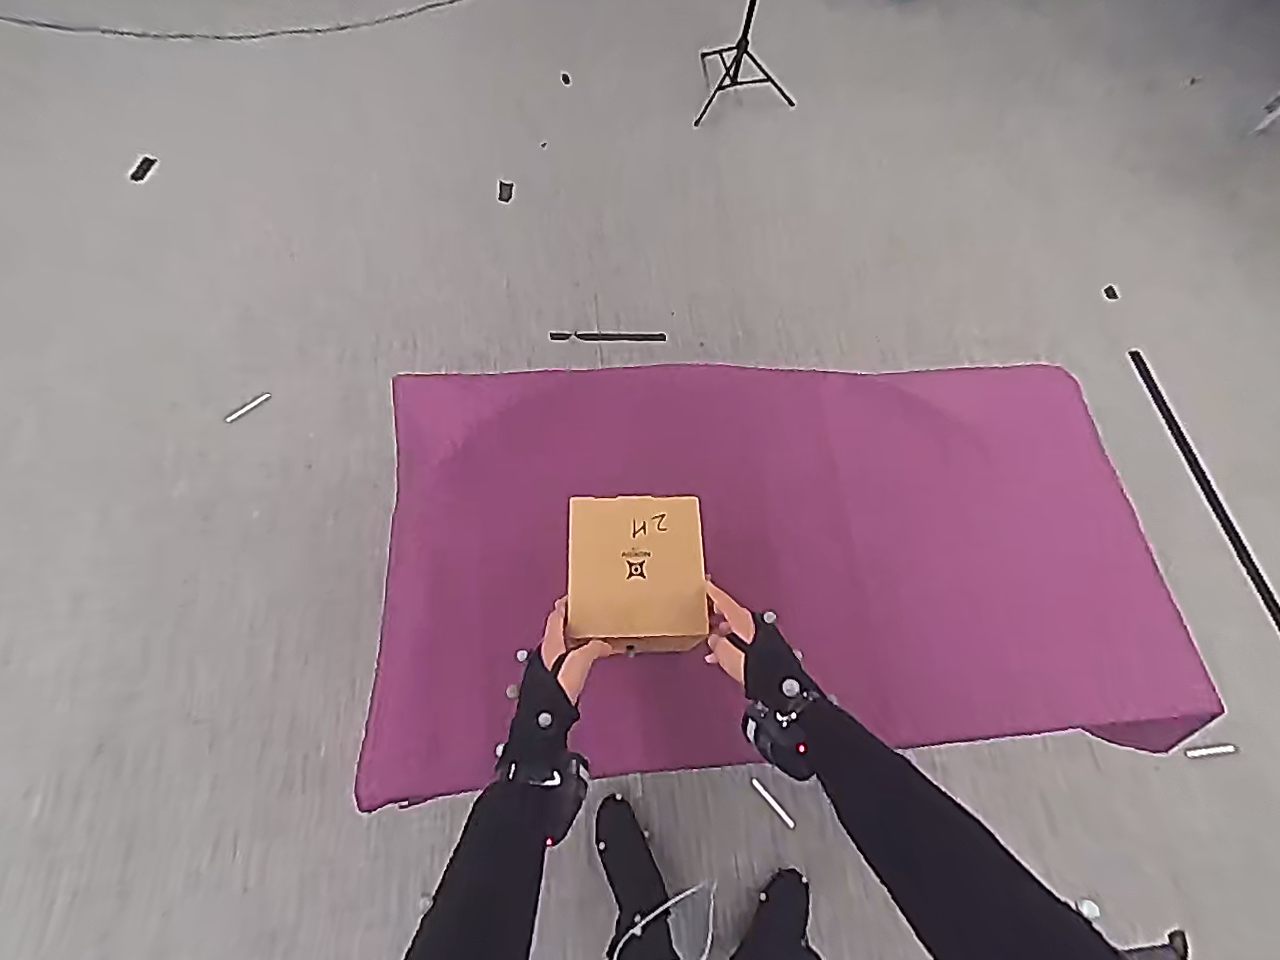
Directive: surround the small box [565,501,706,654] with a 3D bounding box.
[{"bbox_3d":[-0.010,0.138,0.726,0.168,0.176,0.179,0,66,-5],"label":"small box"}]
